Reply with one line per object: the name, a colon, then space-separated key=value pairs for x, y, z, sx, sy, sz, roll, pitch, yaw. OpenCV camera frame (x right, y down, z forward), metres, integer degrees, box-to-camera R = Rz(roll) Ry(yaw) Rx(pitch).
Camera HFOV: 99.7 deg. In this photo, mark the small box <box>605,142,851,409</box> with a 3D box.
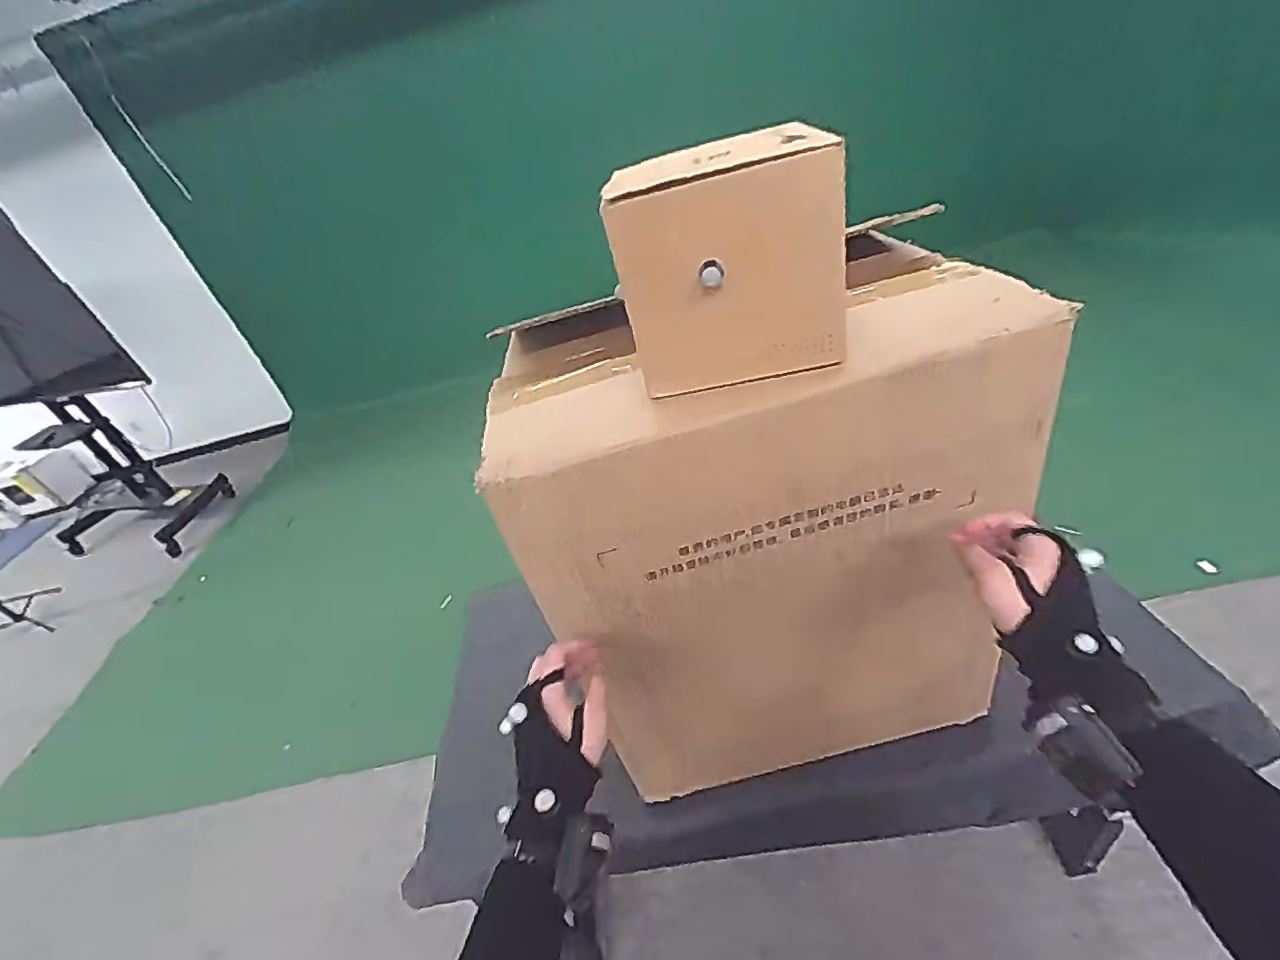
small box: x=0.080 y=-0.184 z=0.495 sx=0.179 sy=0.176 sz=0.168 roll=-12 pitch=35 yaw=10
